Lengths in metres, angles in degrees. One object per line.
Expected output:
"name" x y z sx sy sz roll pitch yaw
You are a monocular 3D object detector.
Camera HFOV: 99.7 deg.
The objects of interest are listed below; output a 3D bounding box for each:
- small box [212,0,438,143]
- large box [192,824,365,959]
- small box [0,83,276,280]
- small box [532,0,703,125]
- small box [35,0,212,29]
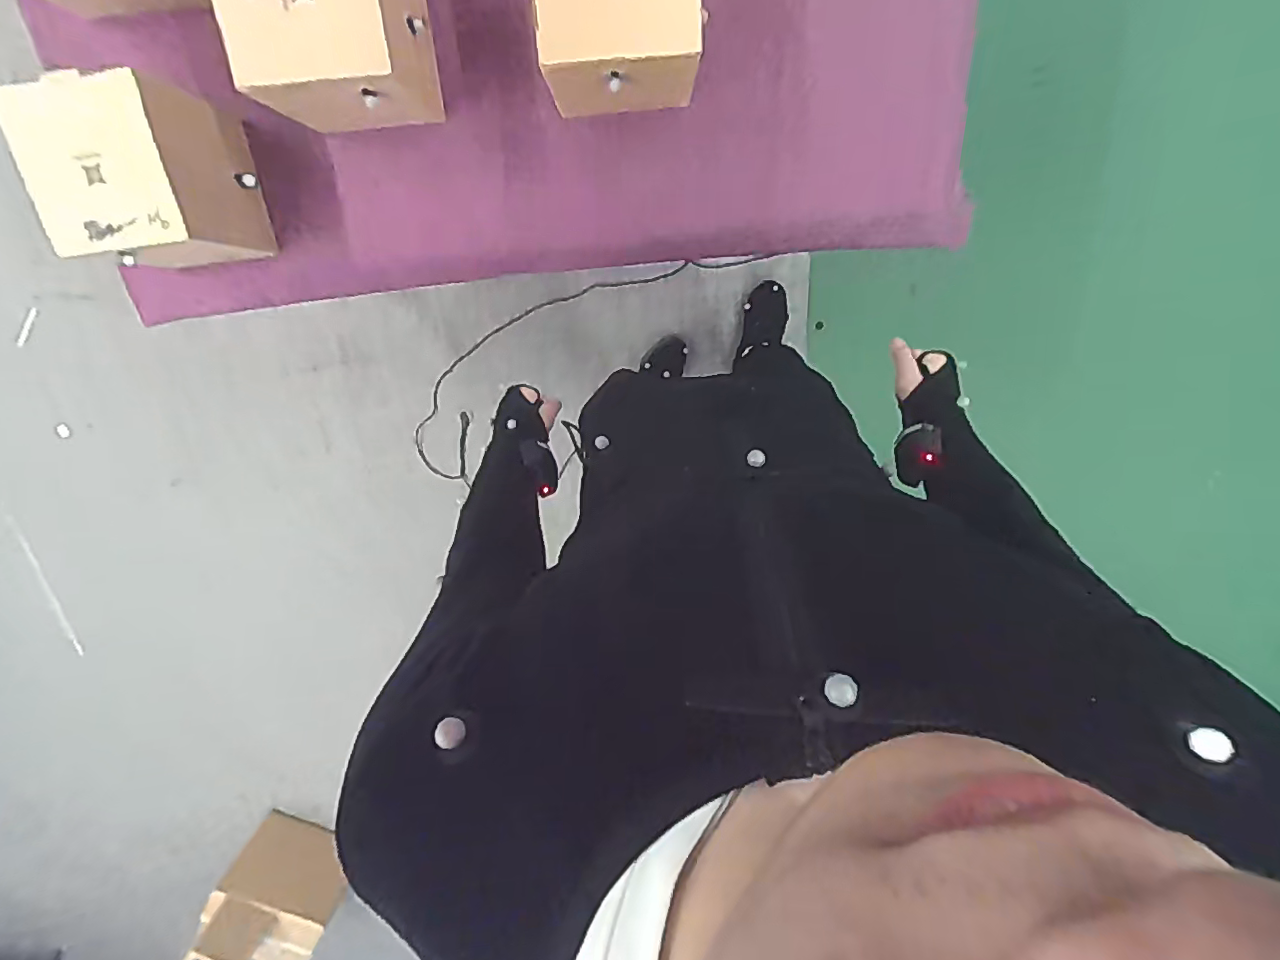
"small box" -0.354 -0.514 0.633 0.179 0.176 0.168 -4 108 2
"large box" -1.342 1.589 2.036 0.408 0.320 0.320 26 108 -9
"small box" -0.611 -0.359 0.684 0.168 0.176 0.179 -6 106 3
"small box" -0.024 -0.533 0.626 0.179 0.176 0.168 -3 109 3
"small box" -0.635 -0.636 0.596 0.179 0.176 0.168 -5 109 1
